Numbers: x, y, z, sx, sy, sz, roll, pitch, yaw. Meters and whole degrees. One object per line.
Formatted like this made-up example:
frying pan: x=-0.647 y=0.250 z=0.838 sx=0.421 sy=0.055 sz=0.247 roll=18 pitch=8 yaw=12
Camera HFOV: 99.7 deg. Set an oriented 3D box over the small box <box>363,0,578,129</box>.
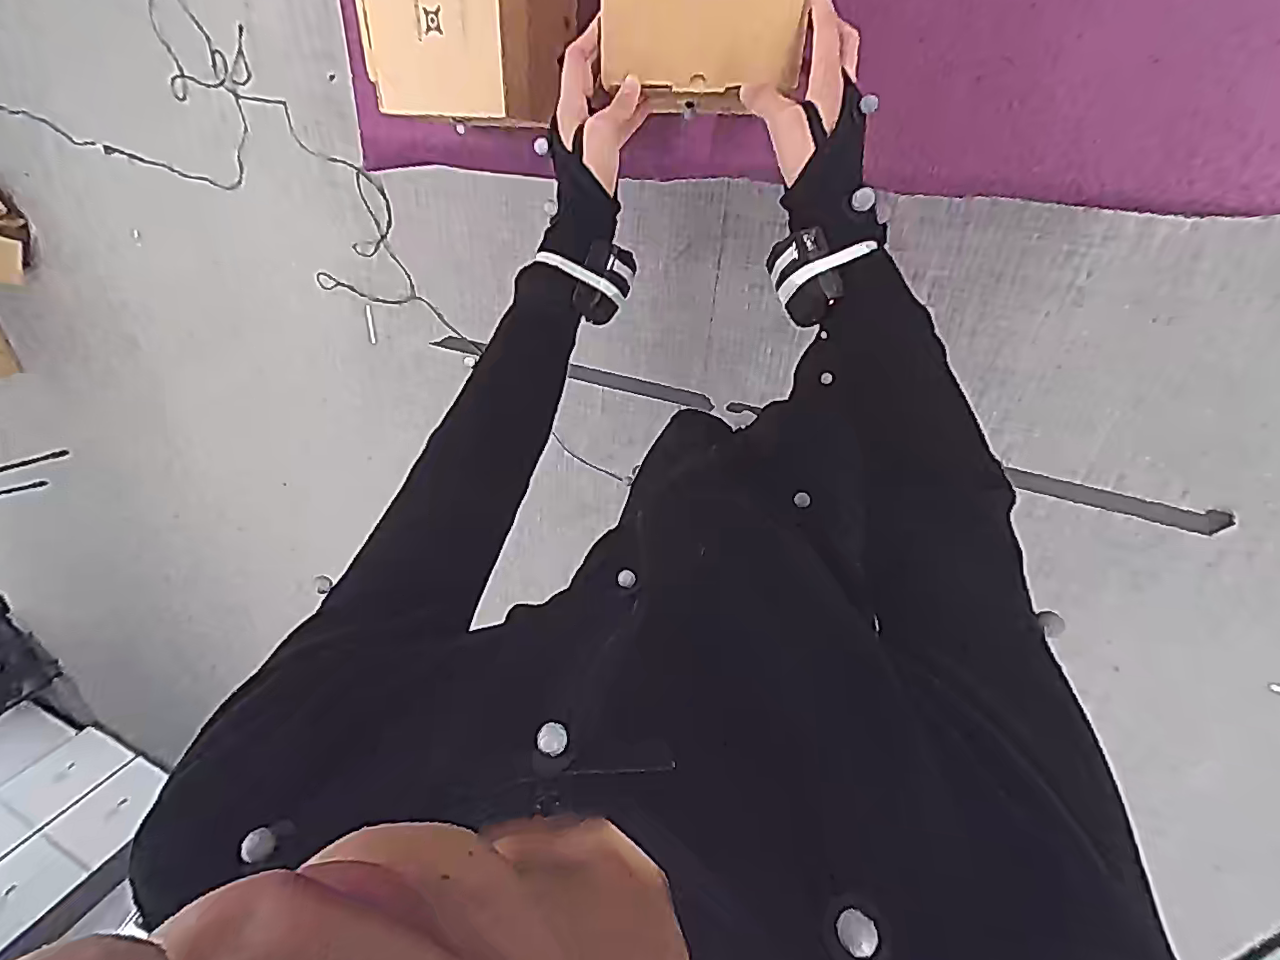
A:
small box: x=-0.188 y=-0.510 z=0.623 sx=0.179 sy=0.176 sz=0.168 roll=14 pitch=122 yaw=17
